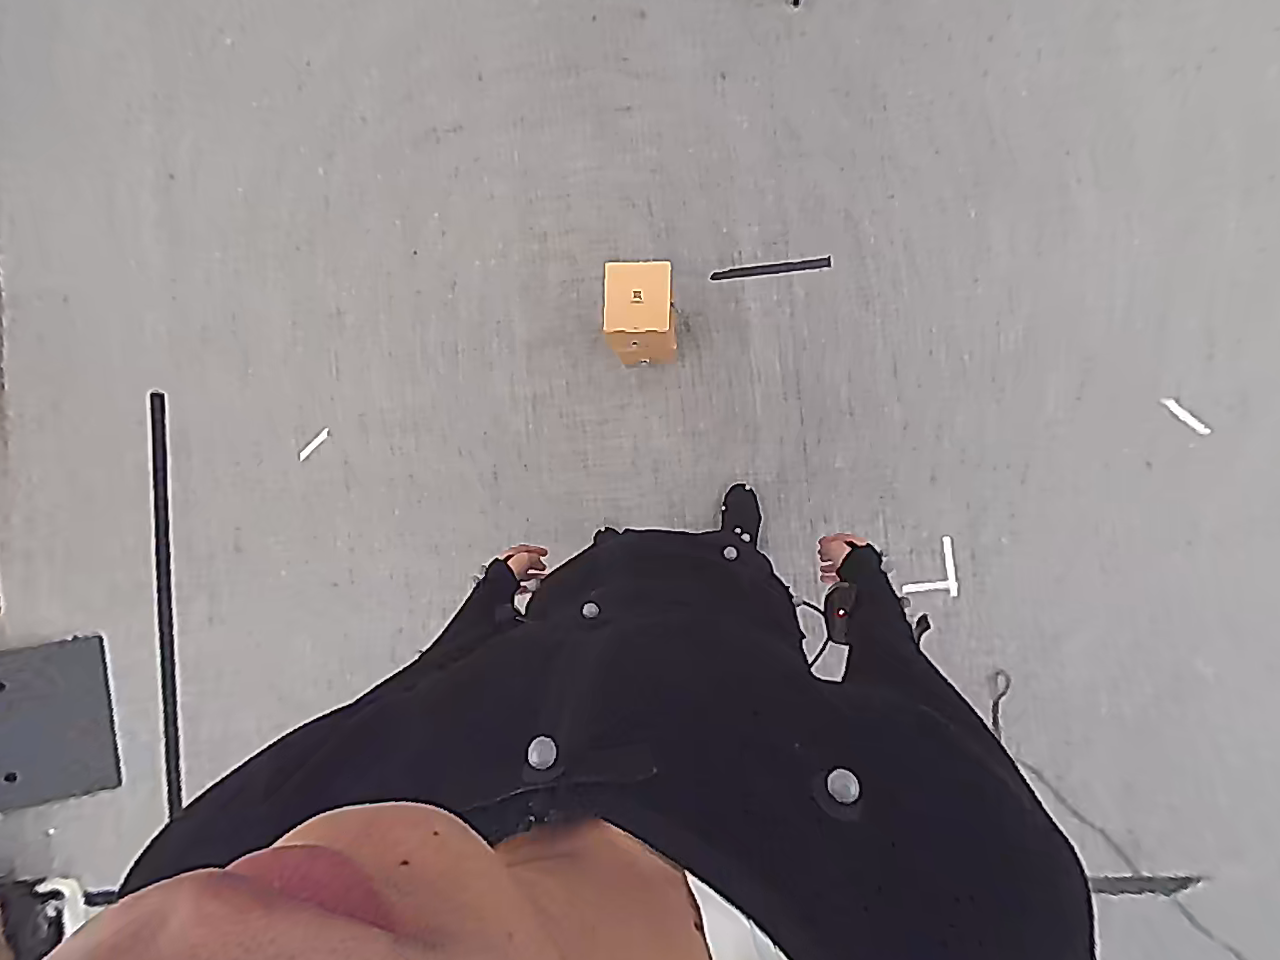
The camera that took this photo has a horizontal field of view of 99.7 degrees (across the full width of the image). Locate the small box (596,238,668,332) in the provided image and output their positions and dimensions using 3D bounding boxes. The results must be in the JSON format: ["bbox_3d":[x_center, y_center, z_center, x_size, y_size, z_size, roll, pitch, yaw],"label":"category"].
[{"bbox_3d":[-0.015,-0.480,1.346,0.168,0.176,0.179,1,90,5],"label":"small box"}]

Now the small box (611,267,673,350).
[{"bbox_3d":[0.006,-0.474,1.507,0.168,0.176,0.179,-2,89,4],"label":"small box"}]
